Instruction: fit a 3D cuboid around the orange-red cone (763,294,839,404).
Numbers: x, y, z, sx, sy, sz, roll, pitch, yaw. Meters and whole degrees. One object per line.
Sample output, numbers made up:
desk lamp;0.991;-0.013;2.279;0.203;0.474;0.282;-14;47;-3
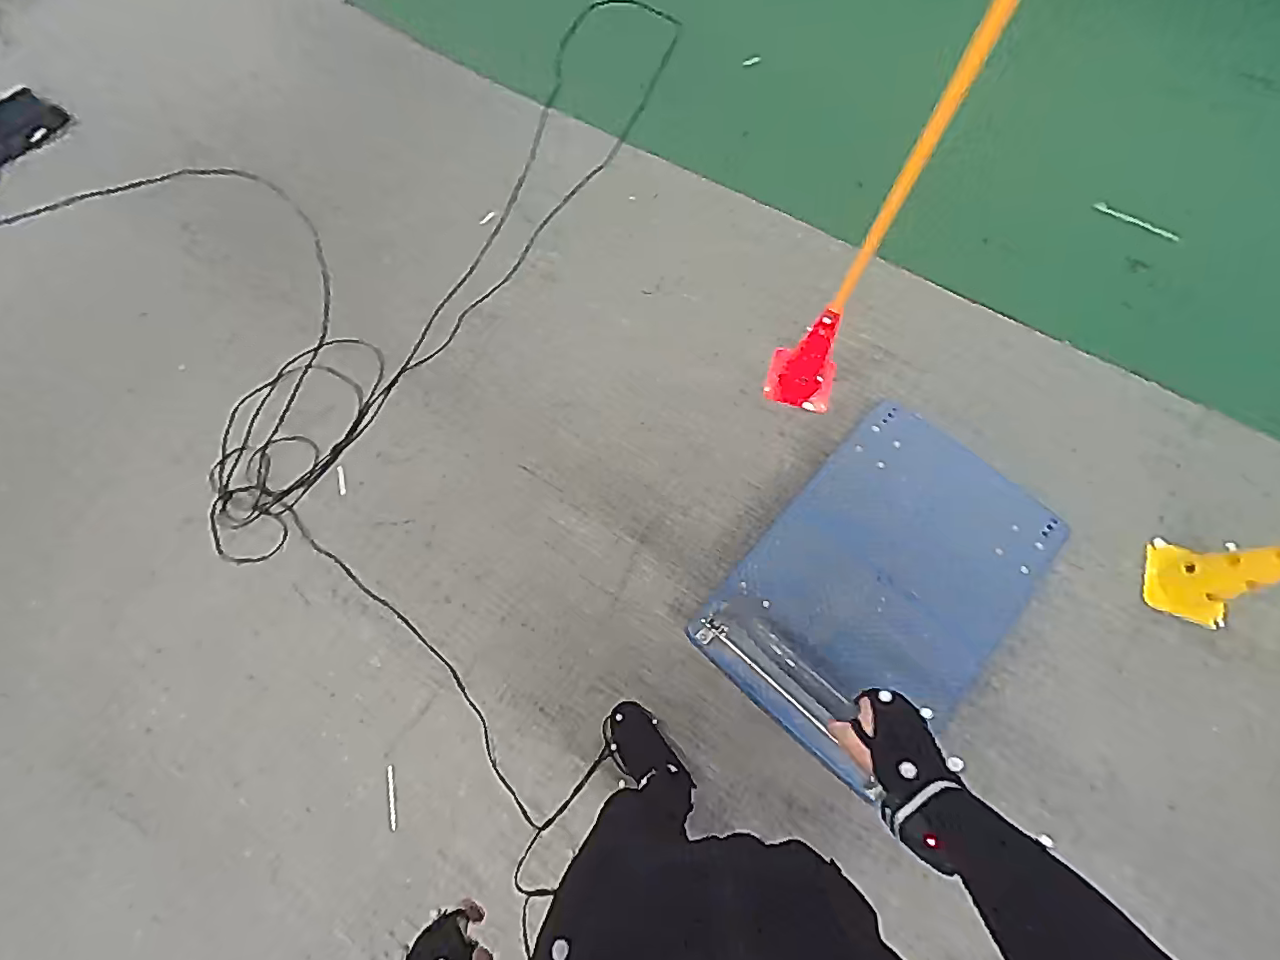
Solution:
orange-red cone;0.502;-0.404;1.569;0.199;0.360;0.198;17;70;8
